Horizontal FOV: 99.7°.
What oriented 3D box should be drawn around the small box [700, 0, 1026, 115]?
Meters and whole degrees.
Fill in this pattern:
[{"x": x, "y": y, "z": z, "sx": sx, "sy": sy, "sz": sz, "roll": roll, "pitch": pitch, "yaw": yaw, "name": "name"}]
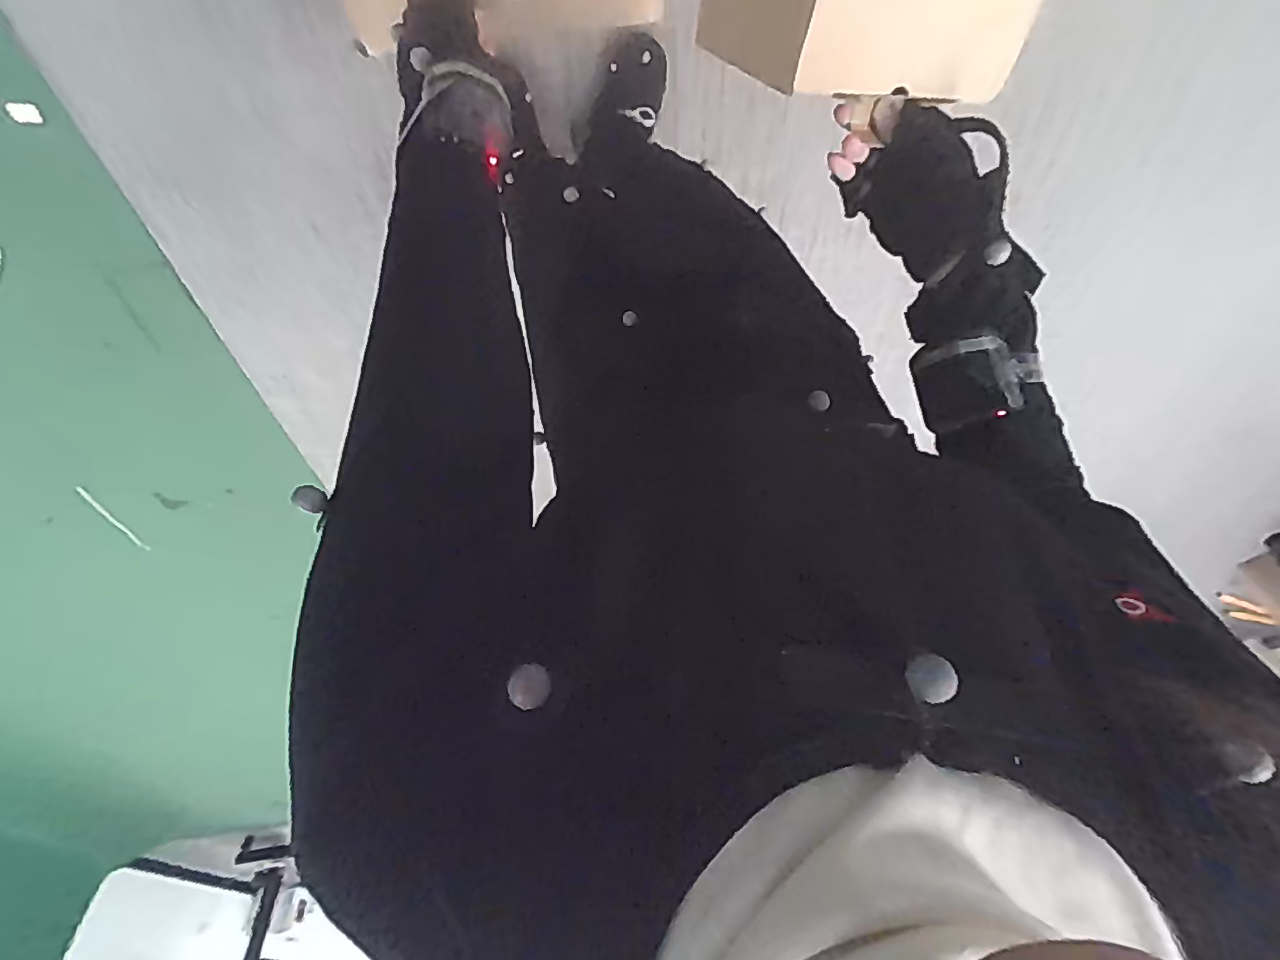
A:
[{"x": 0.151, "y": -0.373, "z": 0.364, "sx": 0.168, "sy": 0.176, "sz": 0.179, "roll": -10, "pitch": 139, "yaw": -15, "name": "small box"}]
